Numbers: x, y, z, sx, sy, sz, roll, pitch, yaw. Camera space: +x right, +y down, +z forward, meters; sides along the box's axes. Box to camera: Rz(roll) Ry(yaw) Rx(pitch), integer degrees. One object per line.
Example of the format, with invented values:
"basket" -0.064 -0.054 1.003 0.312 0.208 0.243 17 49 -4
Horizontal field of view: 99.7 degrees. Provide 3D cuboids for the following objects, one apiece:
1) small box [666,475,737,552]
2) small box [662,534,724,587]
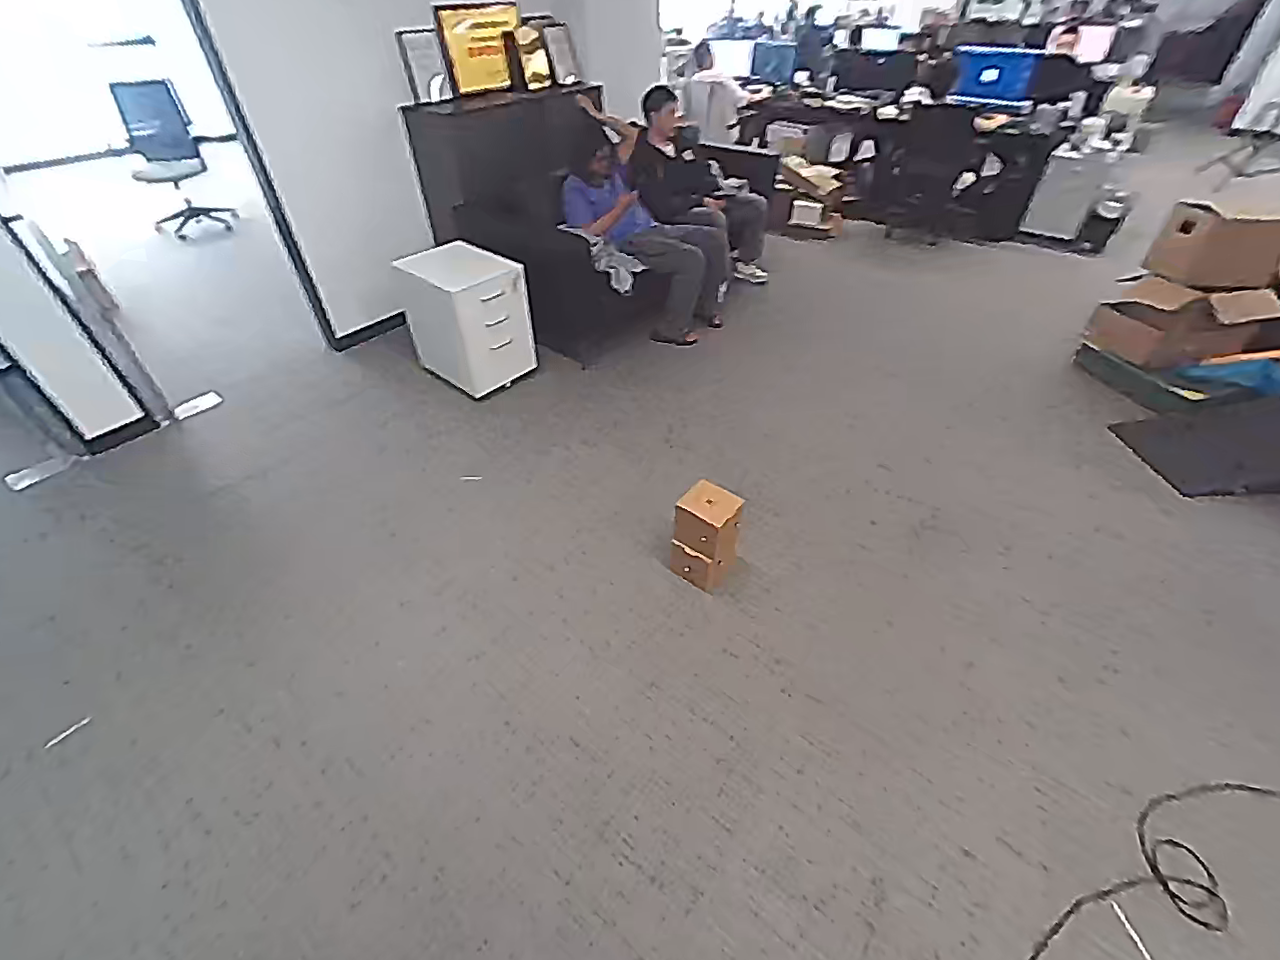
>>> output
"small box" 0.205 0.120 1.837 0.179 0.176 0.168 28 47 27
"small box" 0.193 0.255 1.959 0.168 0.176 0.179 26 48 26
